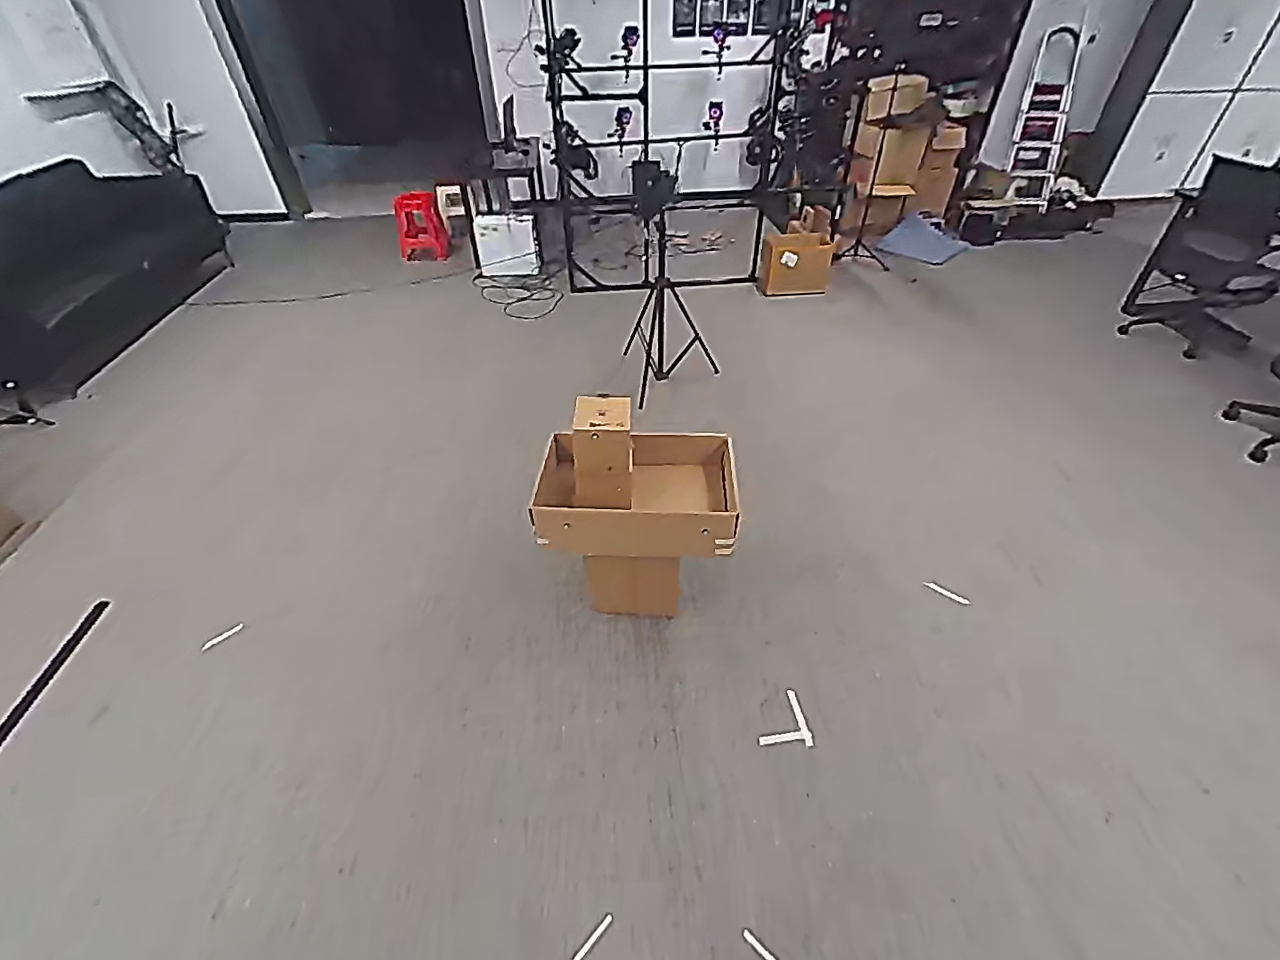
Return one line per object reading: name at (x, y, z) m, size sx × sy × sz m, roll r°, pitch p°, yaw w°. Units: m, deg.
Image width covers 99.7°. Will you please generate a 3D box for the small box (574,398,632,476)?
small box at (-0.108, -0.133, 1.647) m, size 0.168 × 0.176 × 0.179 m, roll 1°, pitch 40°, yaw 0°
